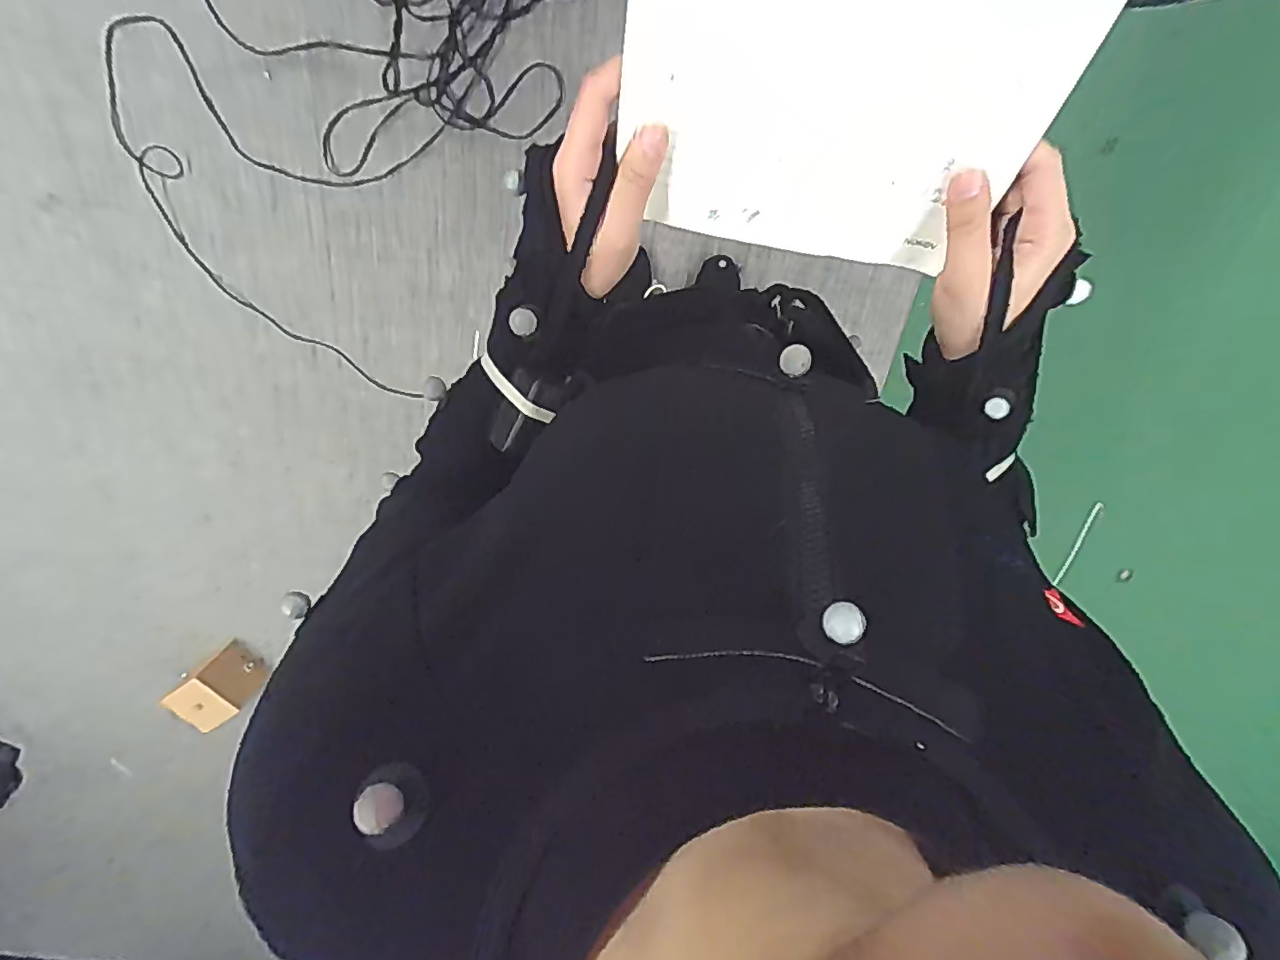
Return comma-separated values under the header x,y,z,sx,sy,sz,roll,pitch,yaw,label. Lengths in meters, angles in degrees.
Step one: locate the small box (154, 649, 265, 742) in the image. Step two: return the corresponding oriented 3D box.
x,y,z,sx,sy,sz,roll,pitch,yaw,label
-1.317,0.662,1.669,0.179,0.176,0.168,-33,110,14,small box
